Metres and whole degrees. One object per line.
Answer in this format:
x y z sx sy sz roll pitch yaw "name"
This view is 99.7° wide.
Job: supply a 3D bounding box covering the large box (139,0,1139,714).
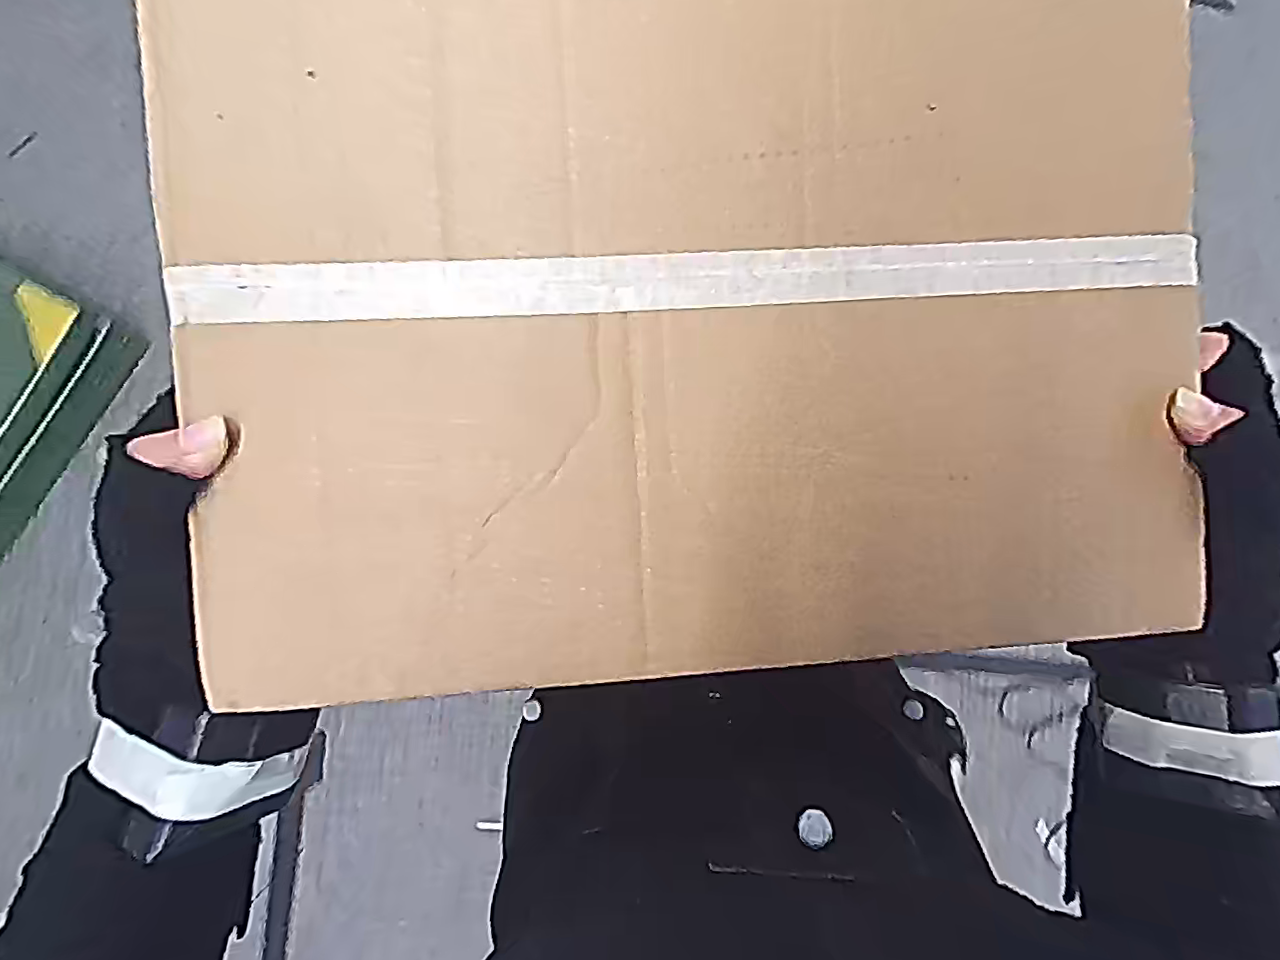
0.009 -0.084 0.374 0.408 0.320 0.320 -5 92 -4 "large box"
